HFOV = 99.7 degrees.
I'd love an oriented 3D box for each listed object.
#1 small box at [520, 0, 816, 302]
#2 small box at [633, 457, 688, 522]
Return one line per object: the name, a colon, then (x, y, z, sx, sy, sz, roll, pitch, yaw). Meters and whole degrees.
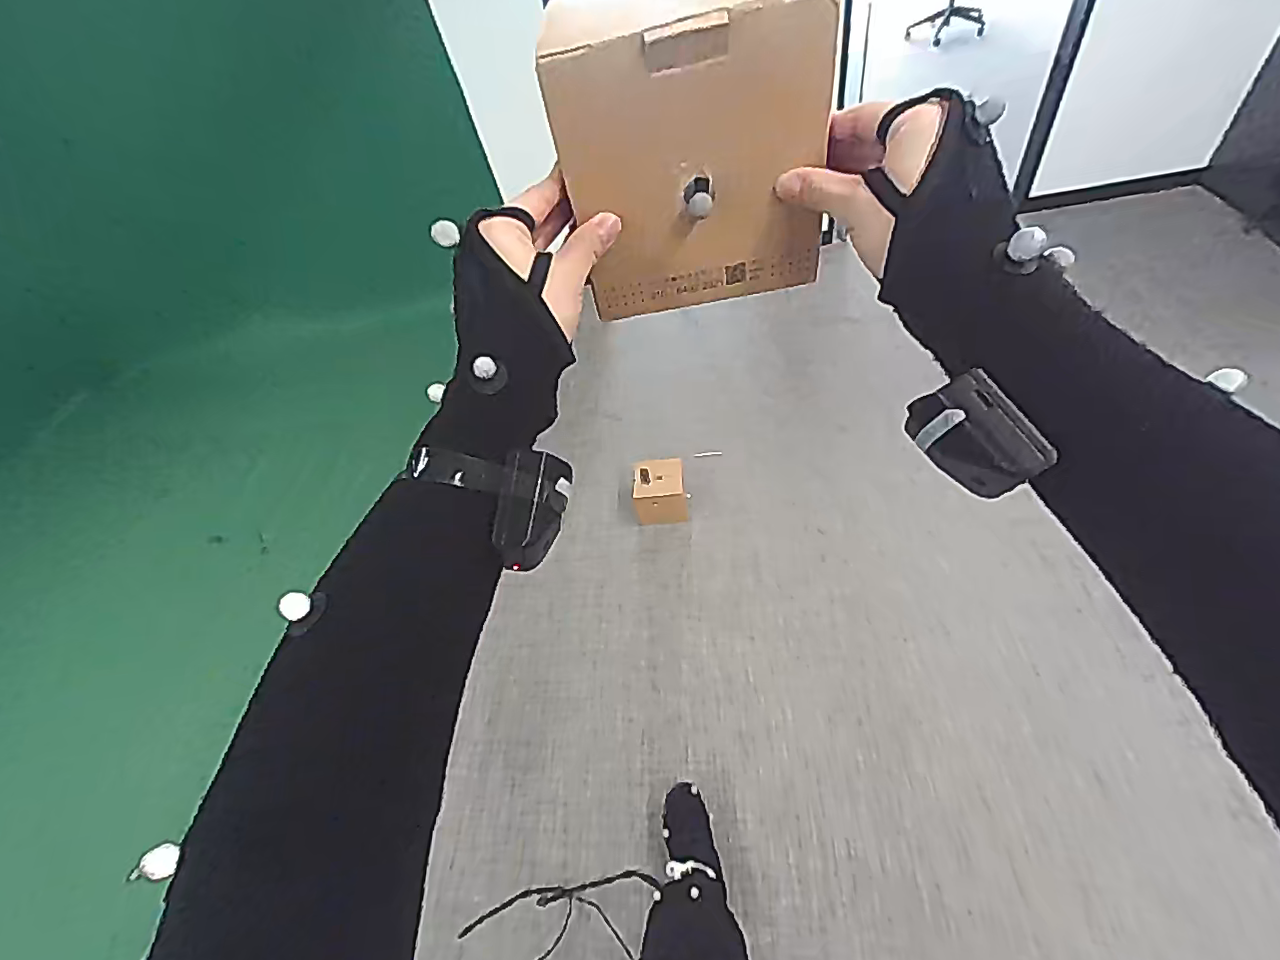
small box: (0.023, -0.249, 0.400, 0.168, 0.176, 0.179, -10, 49, 5)
small box: (0.078, 0.039, 1.970, 0.179, 0.176, 0.168, -6, 50, 8)
